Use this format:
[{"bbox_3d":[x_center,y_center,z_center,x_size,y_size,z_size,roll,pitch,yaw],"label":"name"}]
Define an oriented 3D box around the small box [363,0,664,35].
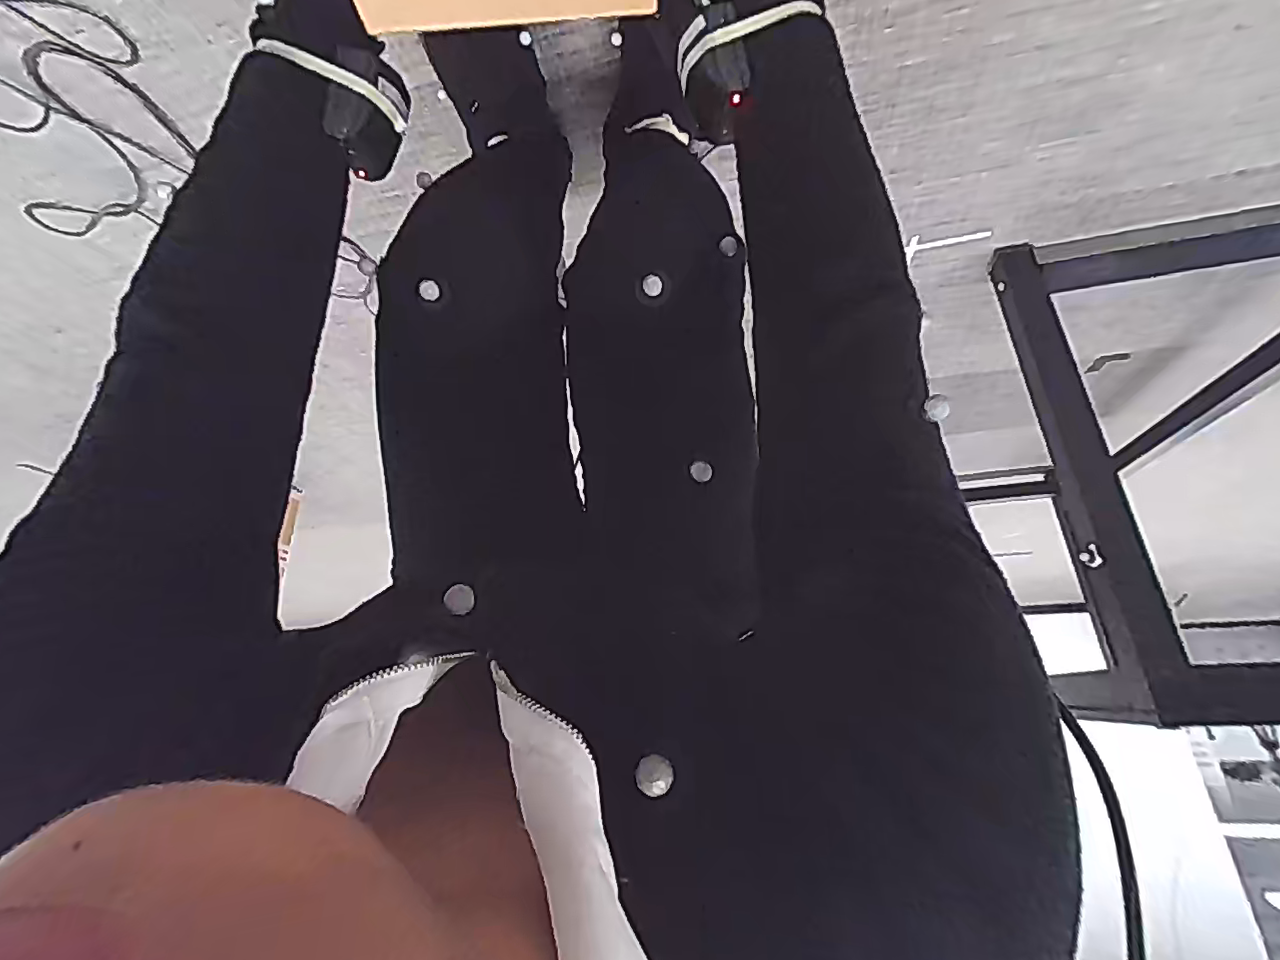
[{"bbox_3d":[-0.073,-0.364,0.258,0.168,0.176,0.179,-1,156,5],"label":"small box"}]
